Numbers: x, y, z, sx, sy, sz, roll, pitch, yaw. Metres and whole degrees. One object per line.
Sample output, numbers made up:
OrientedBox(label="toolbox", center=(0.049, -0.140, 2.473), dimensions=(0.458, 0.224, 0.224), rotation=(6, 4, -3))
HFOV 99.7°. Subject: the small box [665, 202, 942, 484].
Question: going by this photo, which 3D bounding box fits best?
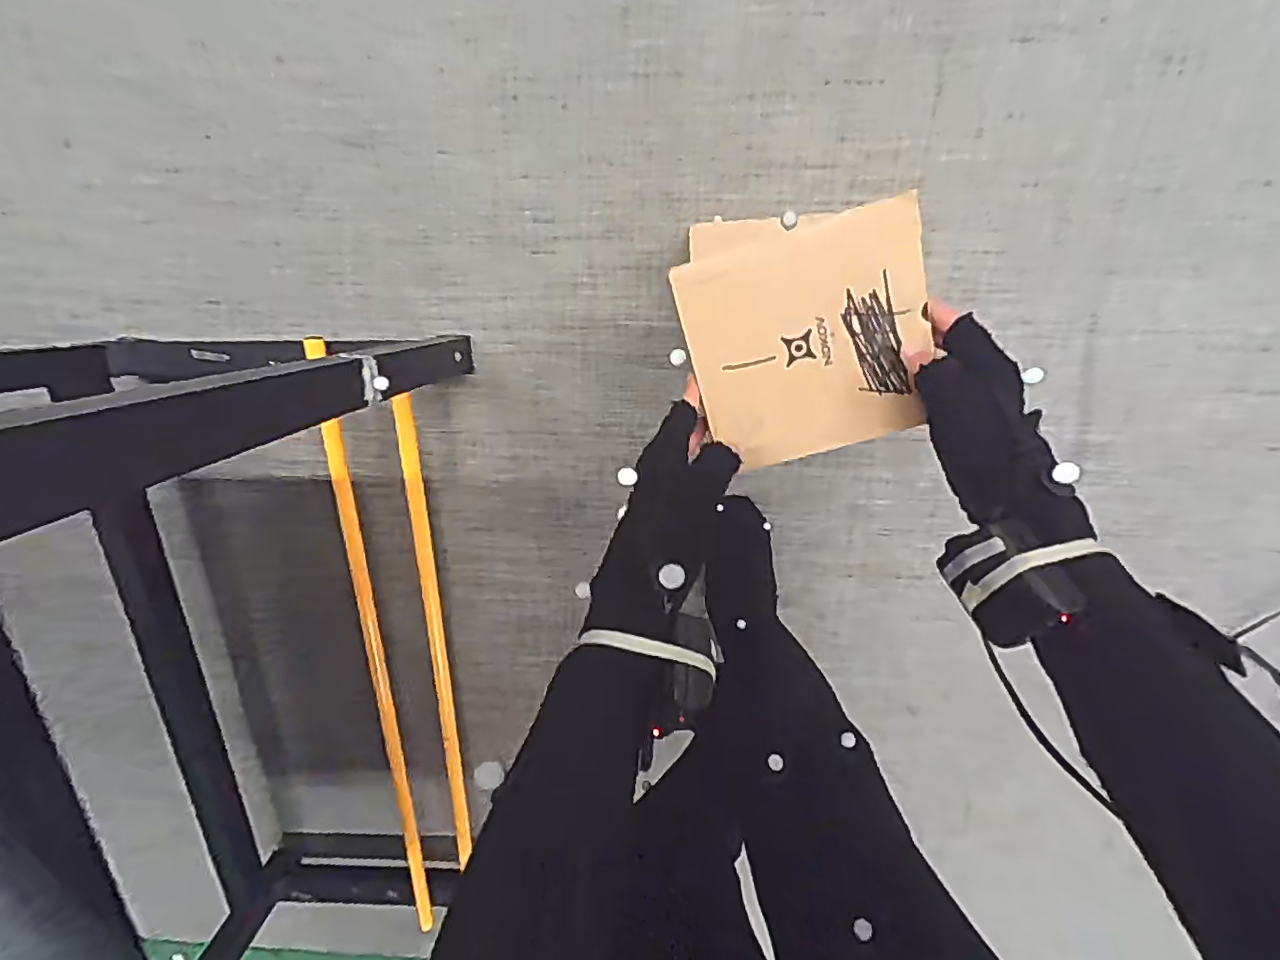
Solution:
OrientedBox(label="small box", center=(0.125, -0.119, 0.467), dimensions=(0.179, 0.176, 0.168), rotation=(-15, 108, 10))
